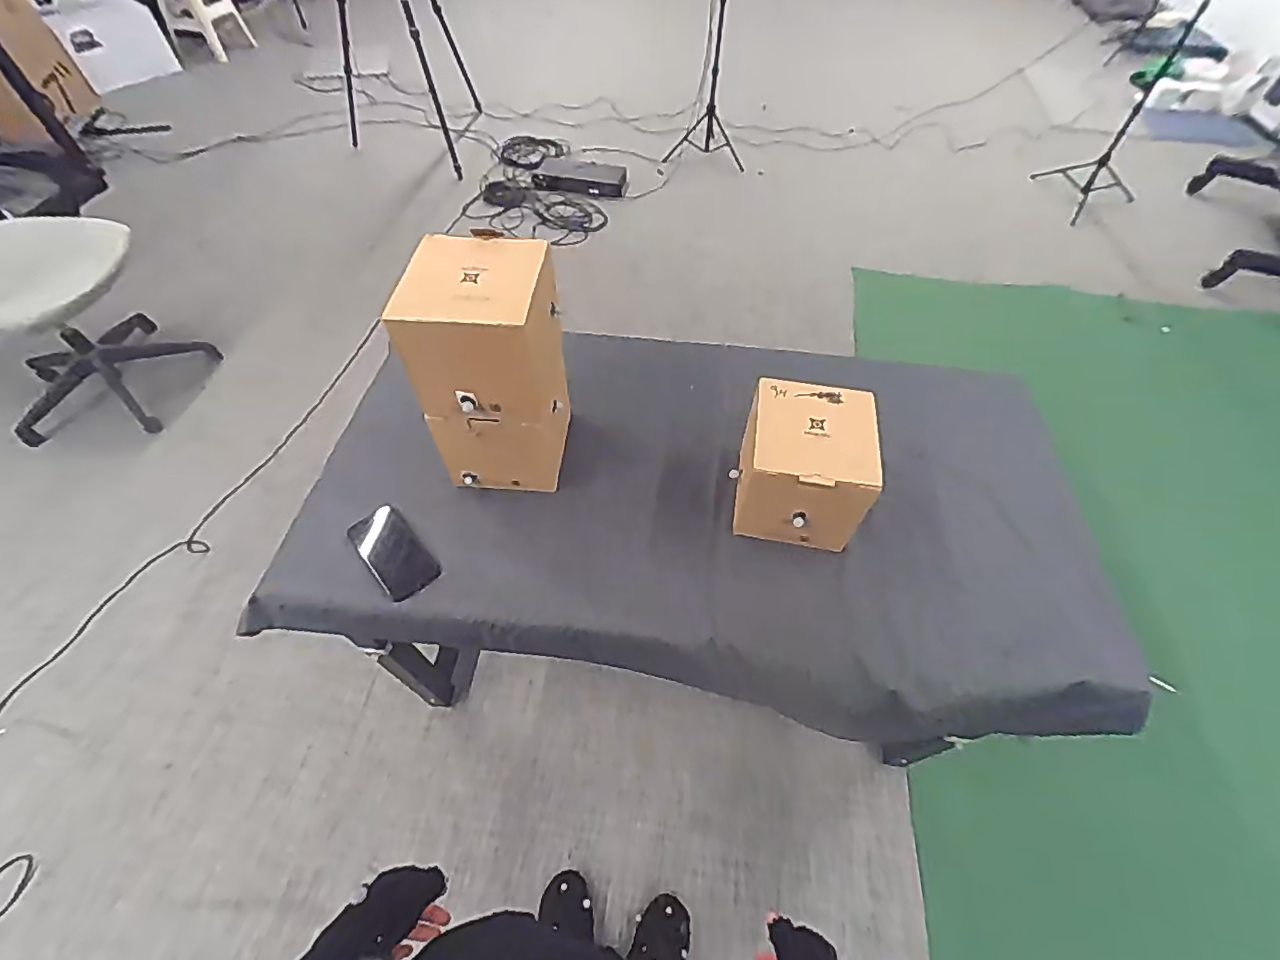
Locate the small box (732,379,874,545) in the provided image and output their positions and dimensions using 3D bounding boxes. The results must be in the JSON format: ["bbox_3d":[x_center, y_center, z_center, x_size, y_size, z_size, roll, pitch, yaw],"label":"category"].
[{"bbox_3d":[0.236,-0.022,0.809,0.168,0.176,0.179,9,55,5],"label":"small box"}]

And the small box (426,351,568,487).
[{"bbox_3d":[-0.210,-0.105,0.855,0.168,0.176,0.179,4,54,1],"label":"small box"}]

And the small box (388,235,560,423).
[{"bbox_3d":[-0.203,-0.199,0.724,0.168,0.176,0.179,3,56,1],"label":"small box"}]
